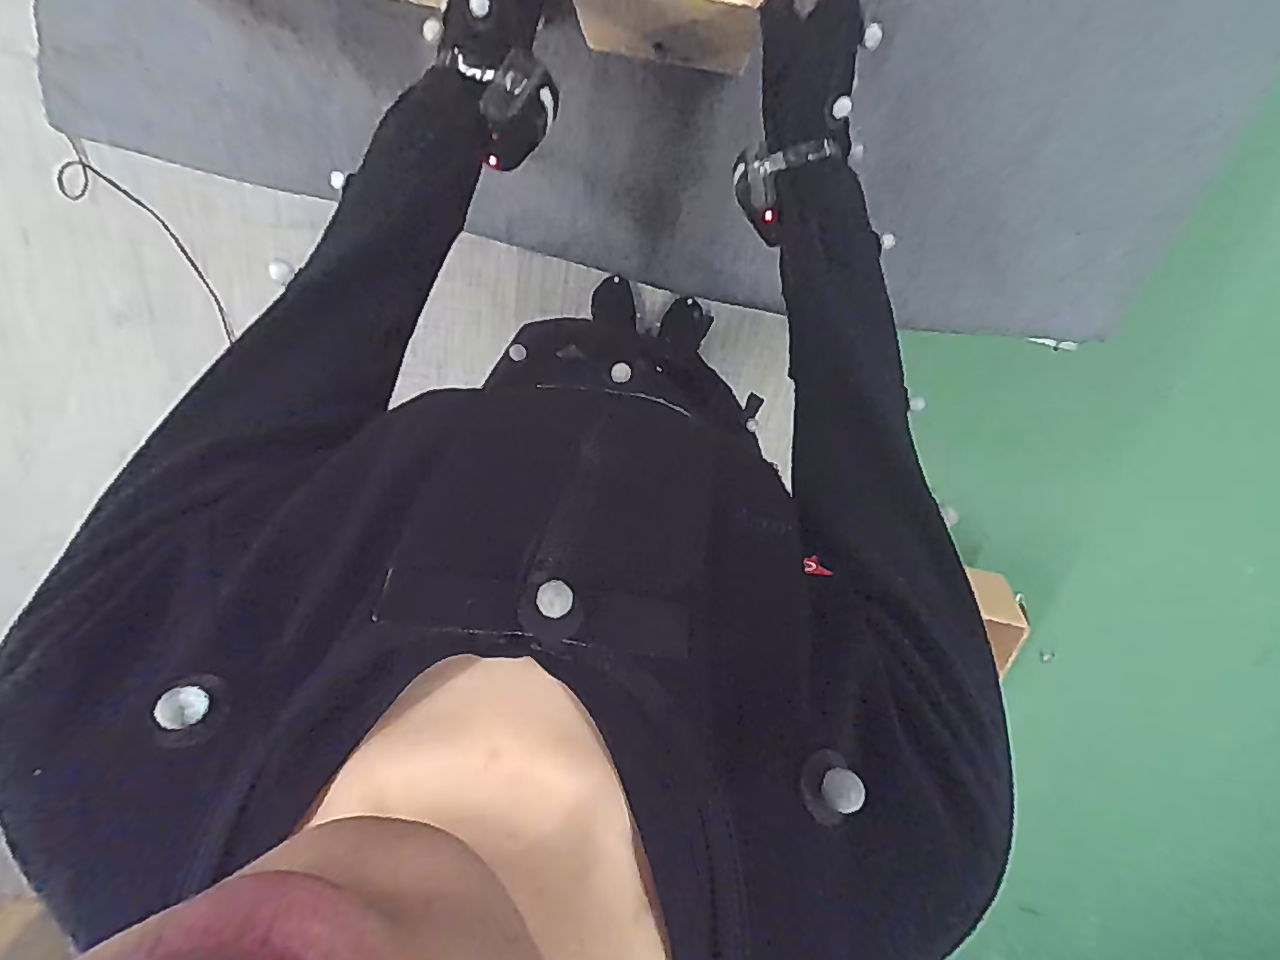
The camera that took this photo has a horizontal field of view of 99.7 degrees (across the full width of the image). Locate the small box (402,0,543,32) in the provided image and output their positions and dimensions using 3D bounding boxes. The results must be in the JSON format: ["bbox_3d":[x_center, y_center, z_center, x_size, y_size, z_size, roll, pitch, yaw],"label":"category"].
[{"bbox_3d":[-0.169,-0.522,0.452,0.168,0.176,0.179,11,111,-2],"label":"small box"}]
